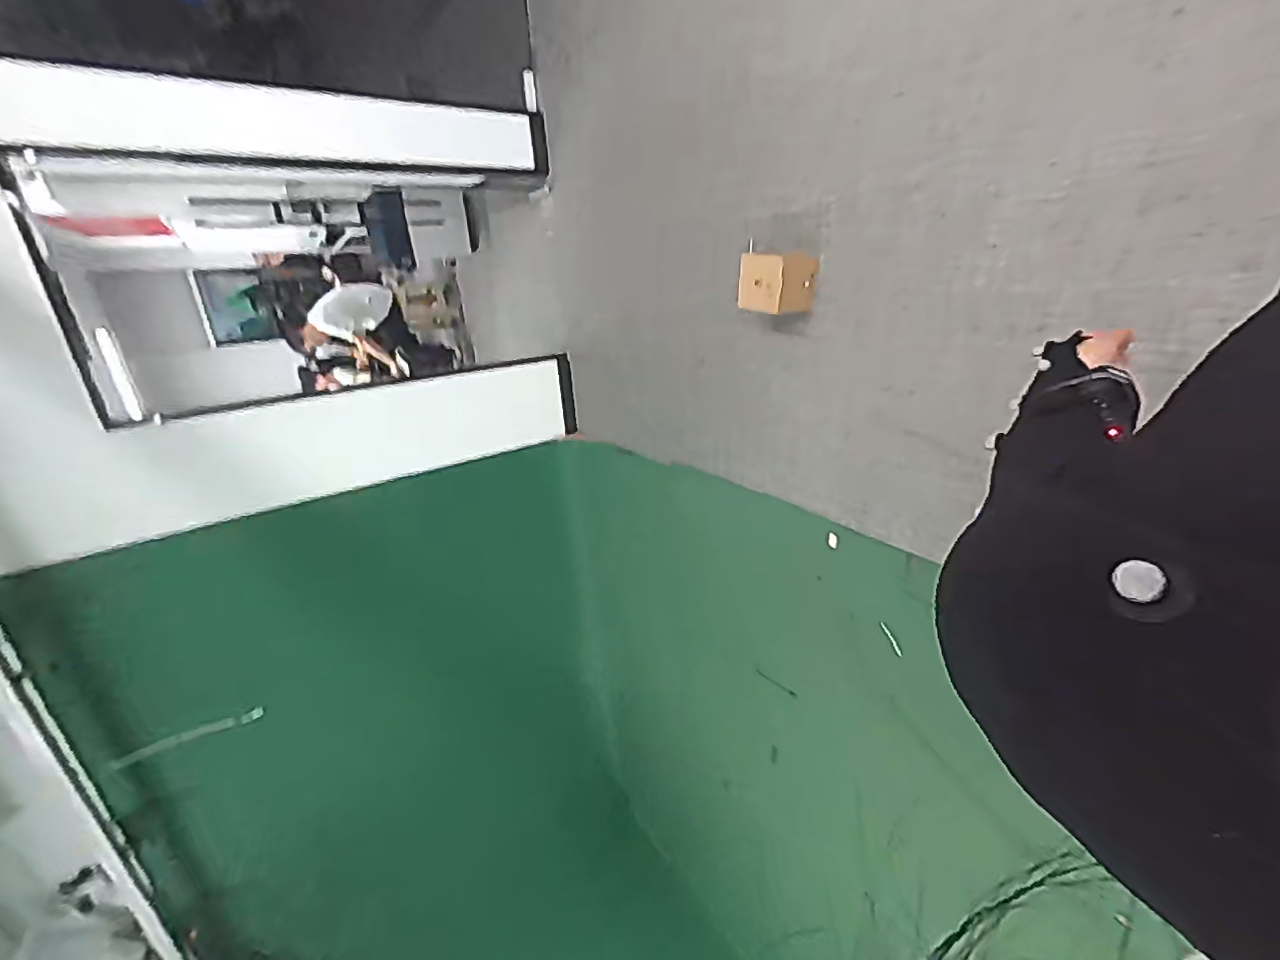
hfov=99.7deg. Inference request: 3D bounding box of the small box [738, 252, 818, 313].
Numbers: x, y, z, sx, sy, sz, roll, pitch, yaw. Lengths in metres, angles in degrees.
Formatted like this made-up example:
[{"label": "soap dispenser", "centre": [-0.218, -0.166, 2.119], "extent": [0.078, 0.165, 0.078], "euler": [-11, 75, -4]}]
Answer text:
[{"label": "small box", "centre": [0.439, -0.637, 1.730], "extent": [0.179, 0.176, 0.168], "euler": [31, 130, 47]}]
